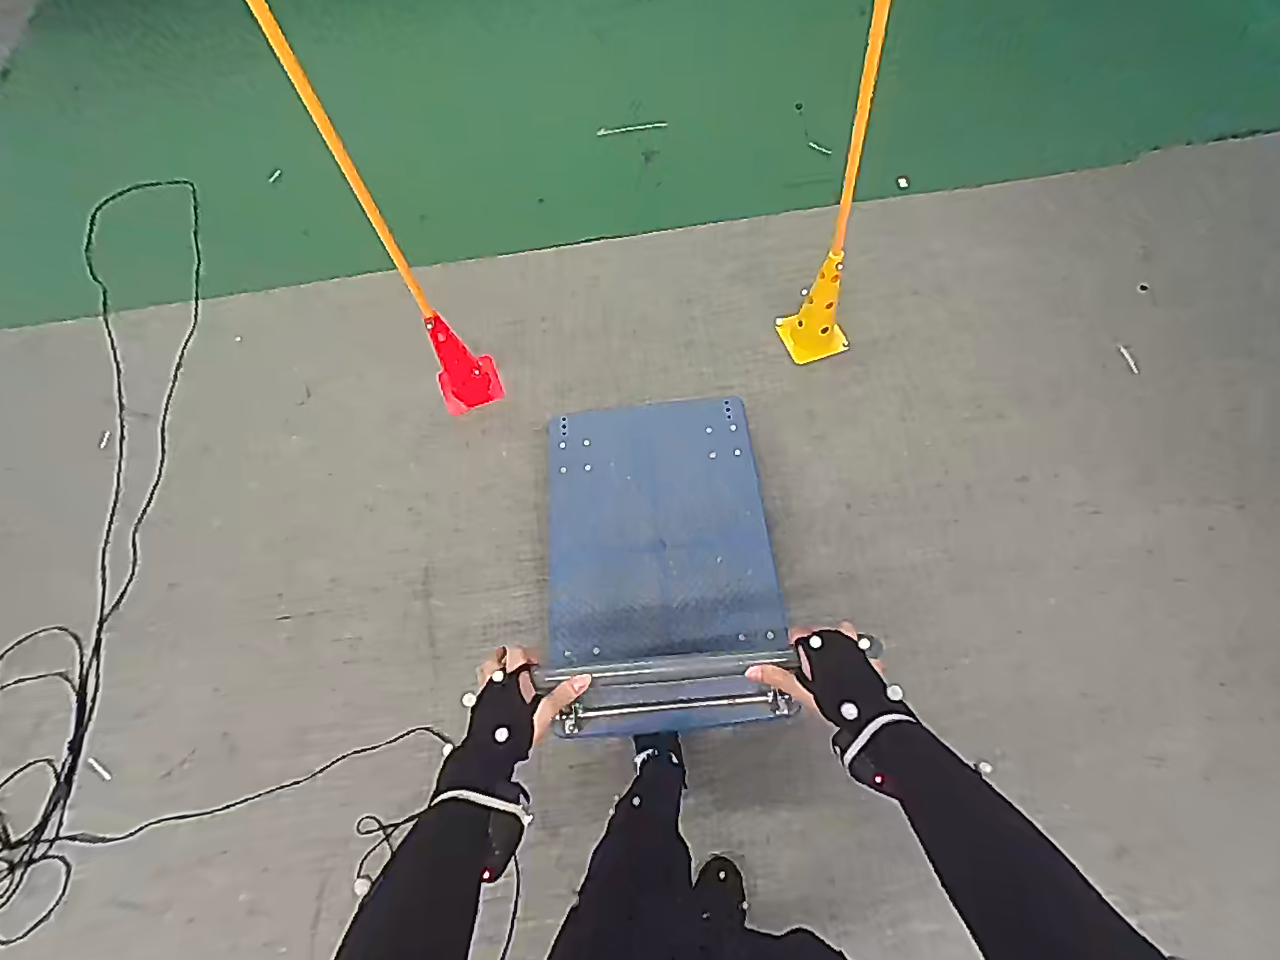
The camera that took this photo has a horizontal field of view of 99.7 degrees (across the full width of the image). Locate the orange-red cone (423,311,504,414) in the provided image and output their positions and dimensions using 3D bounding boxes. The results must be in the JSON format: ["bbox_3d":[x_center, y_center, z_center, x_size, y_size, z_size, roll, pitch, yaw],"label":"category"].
[{"bbox_3d":[-0.595,-0.399,1.714,0.199,0.360,0.198,-22,65,-4],"label":"orange-red cone"}]
